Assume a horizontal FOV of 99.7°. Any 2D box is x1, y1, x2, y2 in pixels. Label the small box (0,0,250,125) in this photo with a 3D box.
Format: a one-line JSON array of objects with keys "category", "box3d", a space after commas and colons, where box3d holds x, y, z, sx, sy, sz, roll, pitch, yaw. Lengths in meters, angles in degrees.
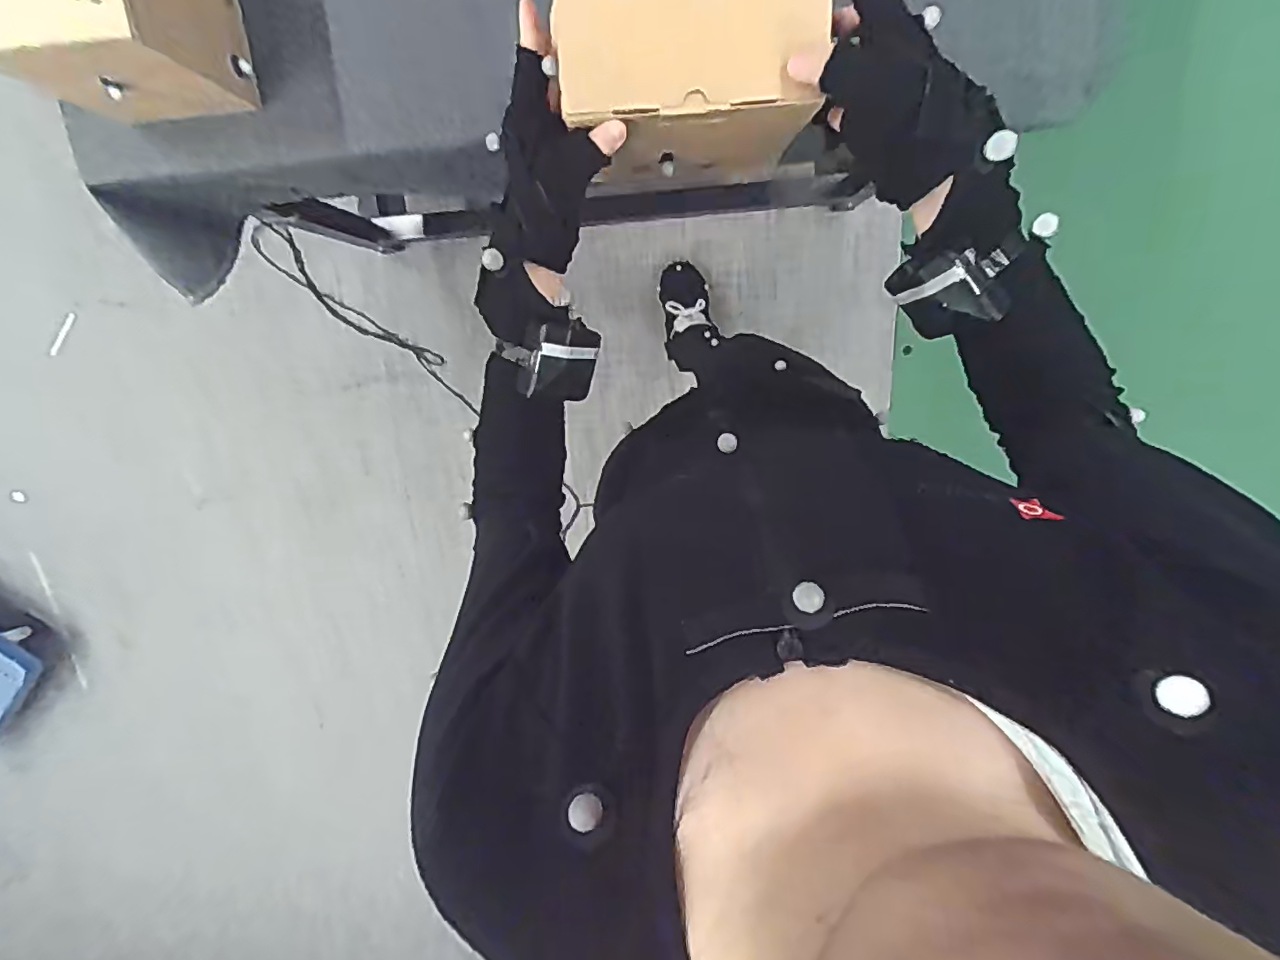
[{"category": "small box", "box3d": [-0.544, -0.491, 0.554, 0.179, 0.176, 0.168, -4, 104, 3]}]
